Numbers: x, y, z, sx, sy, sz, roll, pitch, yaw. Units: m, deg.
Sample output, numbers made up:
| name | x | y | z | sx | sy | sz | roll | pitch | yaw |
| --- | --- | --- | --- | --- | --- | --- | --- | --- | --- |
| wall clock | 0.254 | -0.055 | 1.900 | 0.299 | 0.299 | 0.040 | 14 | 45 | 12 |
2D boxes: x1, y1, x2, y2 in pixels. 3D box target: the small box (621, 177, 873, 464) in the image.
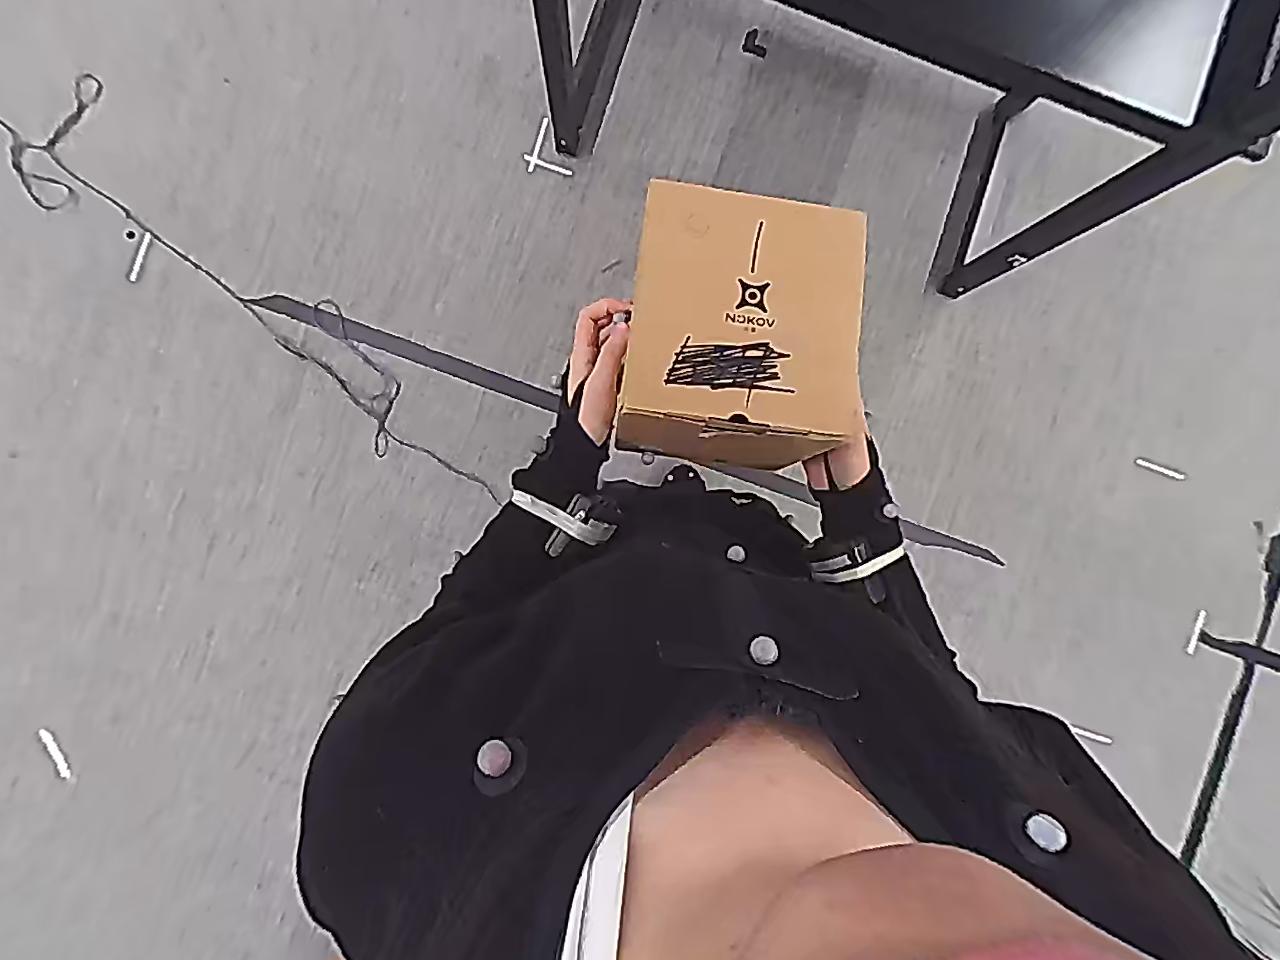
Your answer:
| name | x | y | z | sx | sy | sz | roll | pitch | yaw |
| --- | --- | --- | --- | --- | --- | --- | --- | --- | --- |
| small box | 0.075 | -0.115 | 0.464 | 0.168 | 0.176 | 0.179 | 7 | 82 | -4 |
